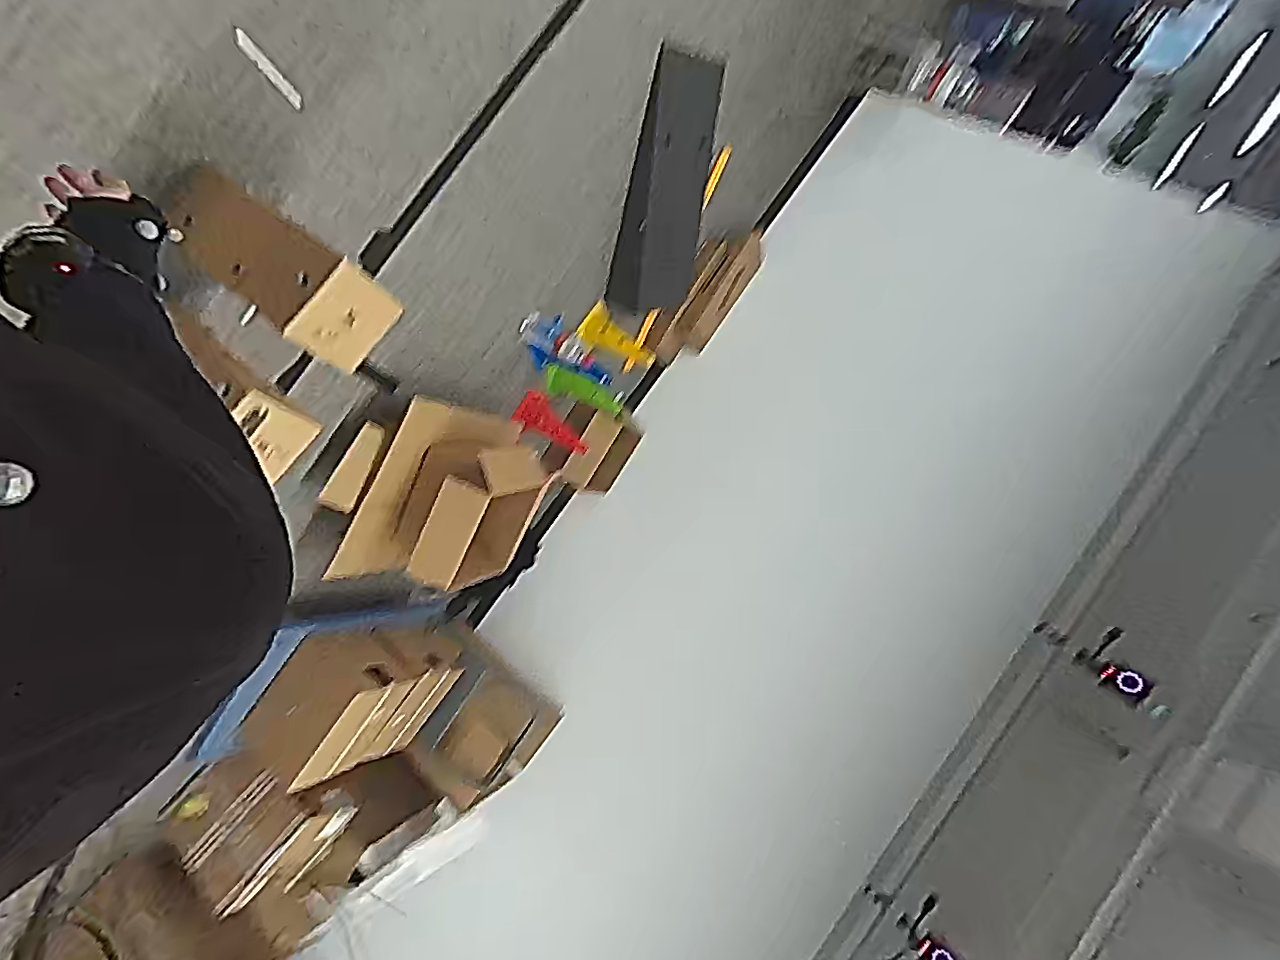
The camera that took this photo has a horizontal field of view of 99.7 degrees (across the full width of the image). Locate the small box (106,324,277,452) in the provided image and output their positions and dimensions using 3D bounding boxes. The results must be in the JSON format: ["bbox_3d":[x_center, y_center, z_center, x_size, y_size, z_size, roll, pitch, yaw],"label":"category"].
[{"bbox_3d":[-0.905,-0.190,1.094,0.168,0.176,0.179,-52,162,-7],"label":"small box"}]

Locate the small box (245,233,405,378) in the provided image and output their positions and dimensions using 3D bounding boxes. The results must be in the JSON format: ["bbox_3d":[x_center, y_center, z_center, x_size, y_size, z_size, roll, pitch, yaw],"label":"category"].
[{"bbox_3d":[-0.610,-0.339,1.050,0.179,0.176,0.168,-52,161,-4],"label":"small box"}]

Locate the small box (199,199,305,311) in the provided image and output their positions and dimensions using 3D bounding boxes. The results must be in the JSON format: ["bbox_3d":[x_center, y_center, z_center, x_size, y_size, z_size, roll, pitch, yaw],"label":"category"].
[{"bbox_3d":[-0.739,-0.428,1.102,0.179,0.176,0.168,-53,161,-4],"label":"small box"}]

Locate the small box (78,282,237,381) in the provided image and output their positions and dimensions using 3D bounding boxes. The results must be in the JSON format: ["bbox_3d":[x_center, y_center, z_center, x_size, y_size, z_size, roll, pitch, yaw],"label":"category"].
[{"bbox_3d":[-1.030,-0.280,1.153,0.179,0.176,0.168,-51,161,-8],"label":"small box"}]

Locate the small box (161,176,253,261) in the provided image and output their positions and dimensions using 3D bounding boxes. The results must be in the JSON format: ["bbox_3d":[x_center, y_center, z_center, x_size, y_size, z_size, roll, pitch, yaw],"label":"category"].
[{"bbox_3d":[-0.861,-0.517,1.162,0.168,0.176,0.179,-53,162,-3],"label":"small box"}]
